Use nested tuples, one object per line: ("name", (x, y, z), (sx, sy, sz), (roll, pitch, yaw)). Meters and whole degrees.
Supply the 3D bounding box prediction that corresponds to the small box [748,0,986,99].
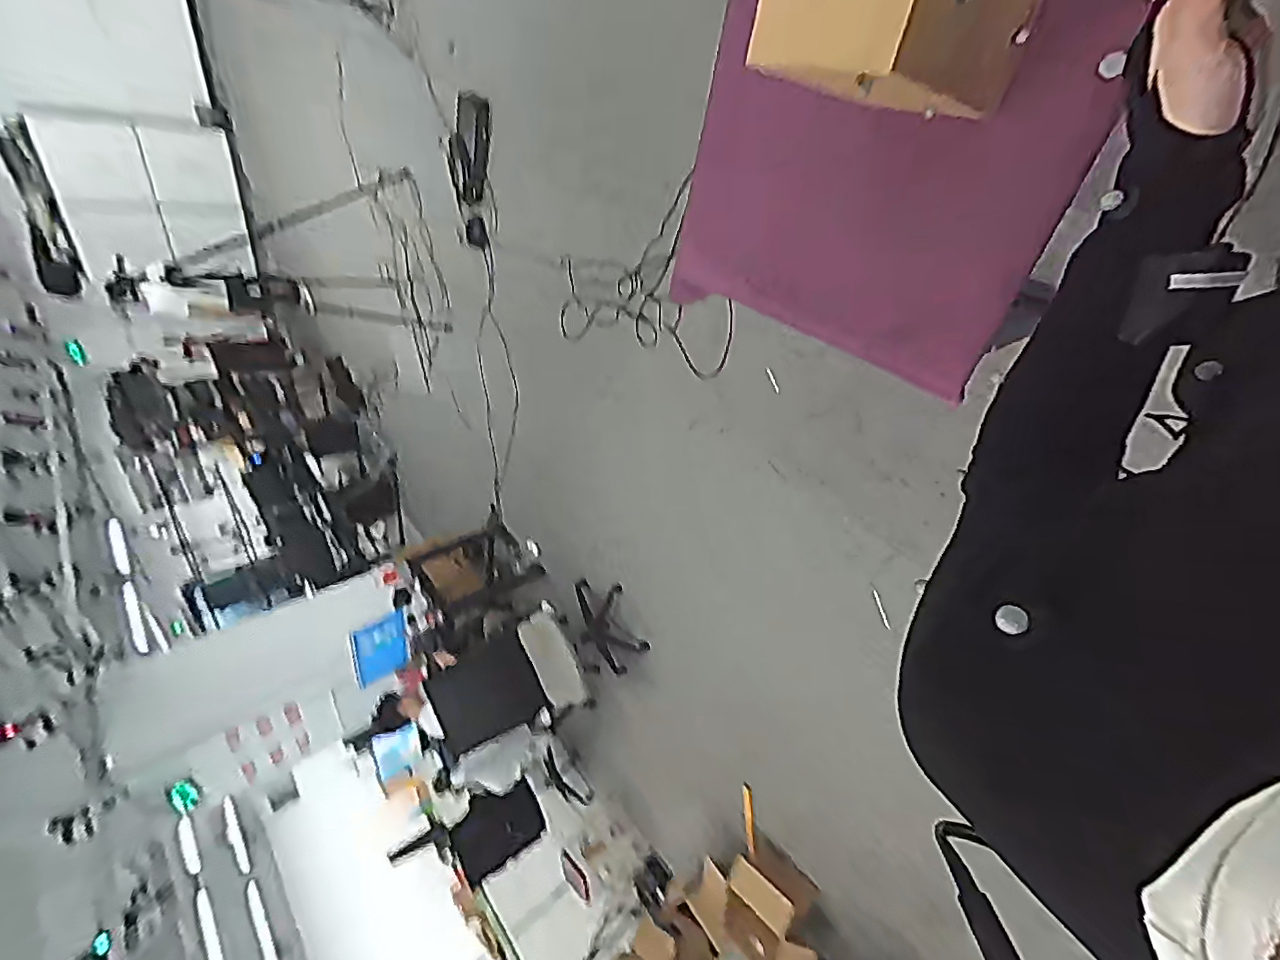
("small box", (0.246, -0.507, 0.557), (0.179, 0.176, 0.168), (37, 132, 35))
